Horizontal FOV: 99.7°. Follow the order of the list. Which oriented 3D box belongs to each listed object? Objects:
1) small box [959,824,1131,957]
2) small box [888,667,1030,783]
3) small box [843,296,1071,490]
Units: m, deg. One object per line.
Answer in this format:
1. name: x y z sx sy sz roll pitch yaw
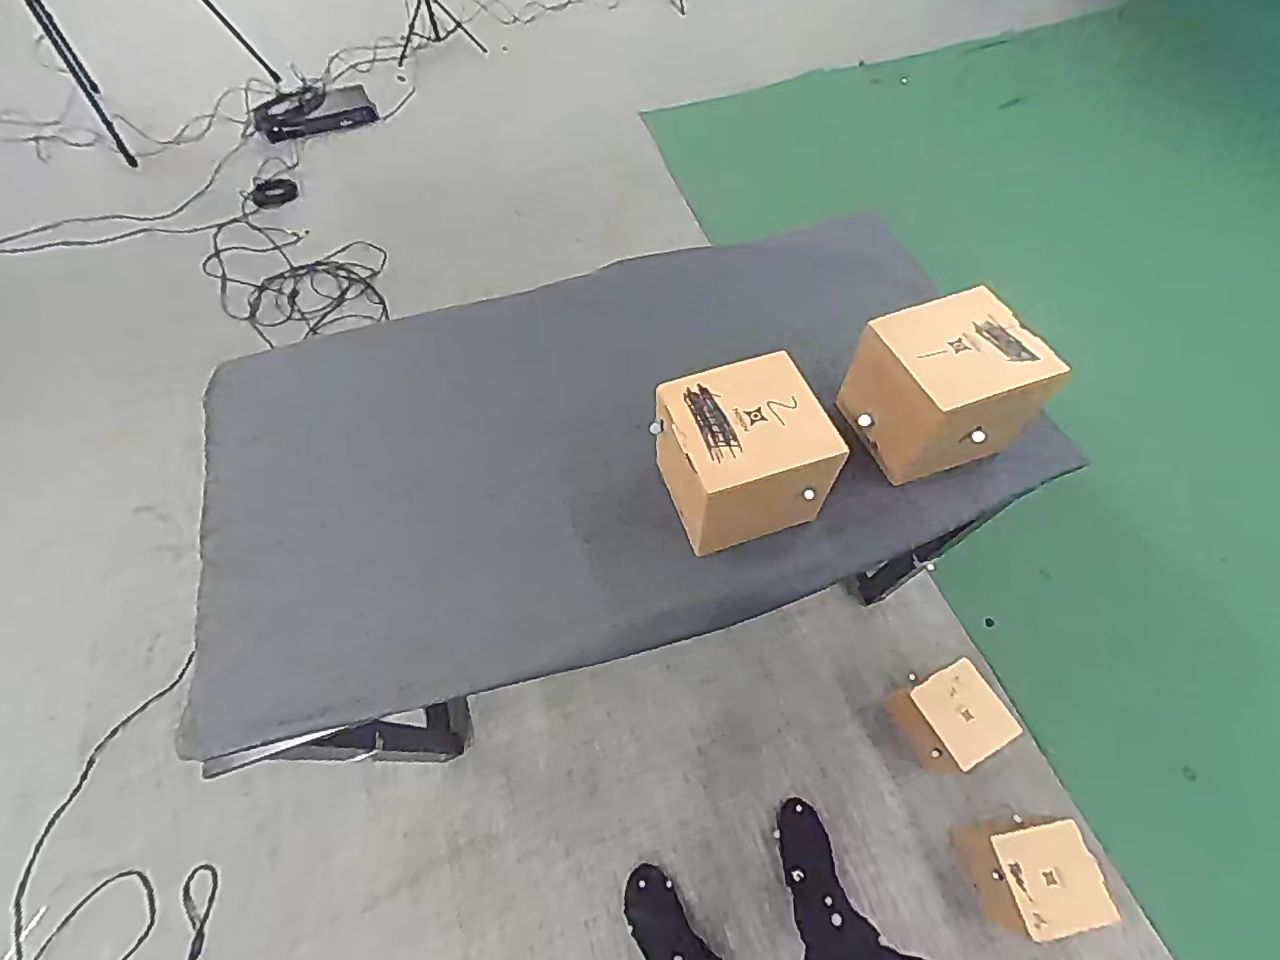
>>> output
1. small box: 0.778 0.791 1.062 0.179 0.176 0.168 -10 62 -3
2. small box: 0.694 0.543 1.200 0.168 0.176 0.179 -24 63 -12
3. small box: 0.407 -0.112 0.732 0.179 0.176 0.168 -17 58 -6
